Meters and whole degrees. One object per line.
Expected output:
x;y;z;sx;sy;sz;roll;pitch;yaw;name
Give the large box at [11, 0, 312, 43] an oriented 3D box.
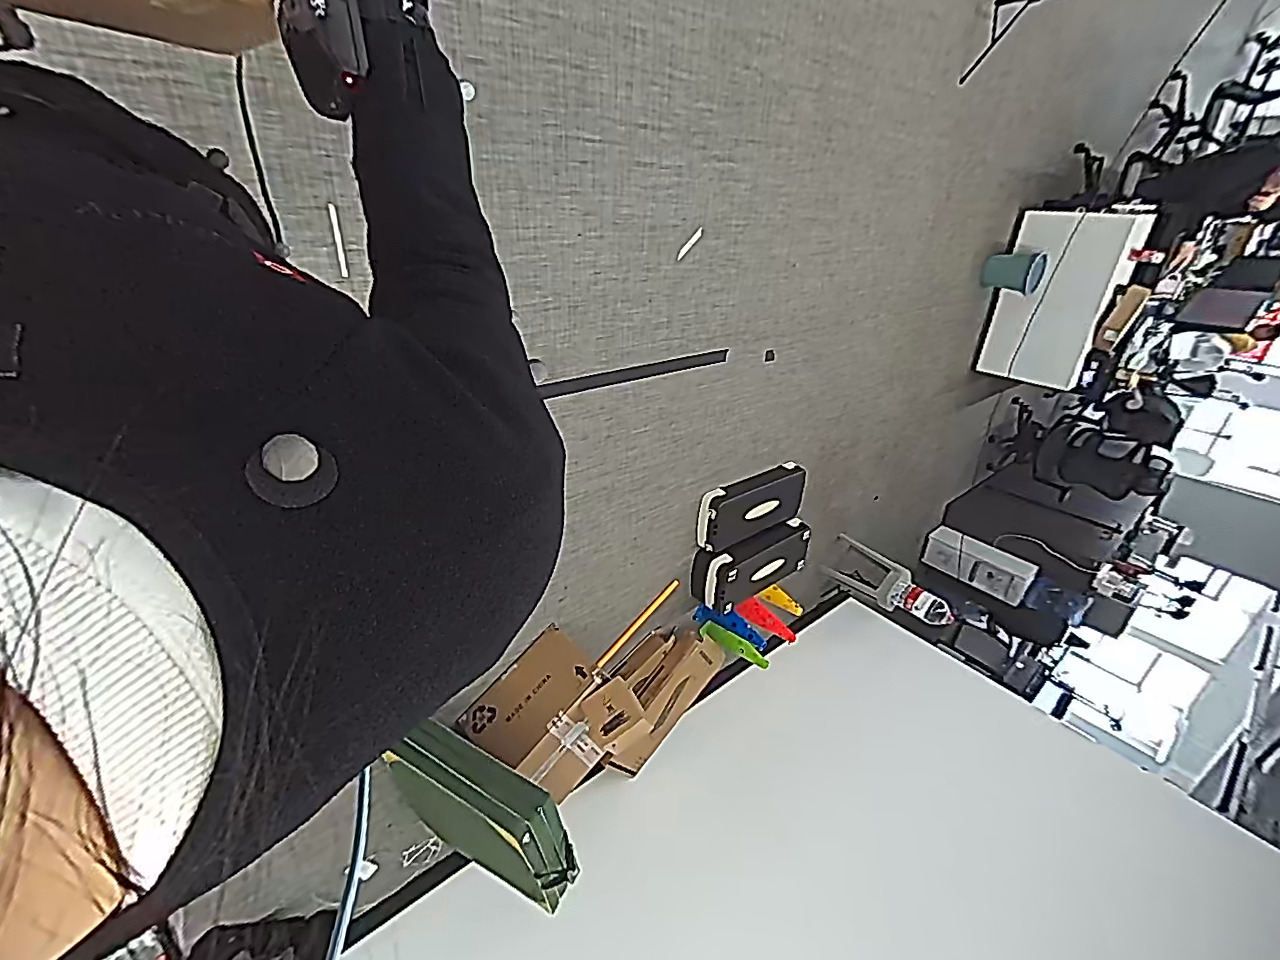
-0.449;-0.465;0.263;0.408;0.320;0.320;-18;128;-40;large box
